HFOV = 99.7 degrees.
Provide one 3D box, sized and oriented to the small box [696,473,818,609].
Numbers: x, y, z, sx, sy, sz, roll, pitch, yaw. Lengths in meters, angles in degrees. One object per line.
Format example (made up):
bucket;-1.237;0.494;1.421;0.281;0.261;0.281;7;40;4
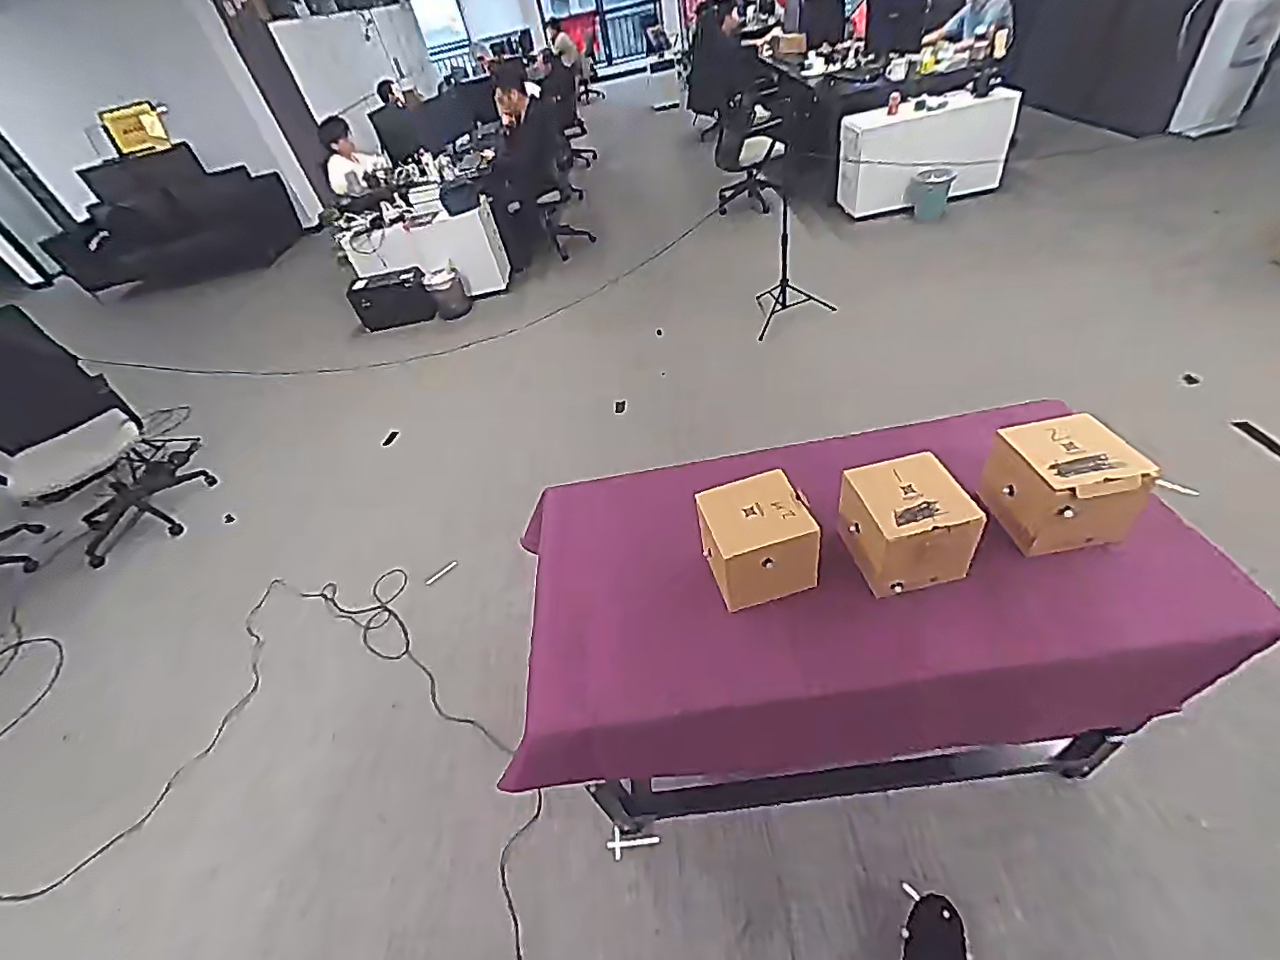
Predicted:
small box;0.218;0.118;1.018;0.179;0.176;0.168;-16;43;-3

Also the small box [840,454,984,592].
small box;0.480;0.084;0.986;0.168;0.176;0.179;-13;42;1
